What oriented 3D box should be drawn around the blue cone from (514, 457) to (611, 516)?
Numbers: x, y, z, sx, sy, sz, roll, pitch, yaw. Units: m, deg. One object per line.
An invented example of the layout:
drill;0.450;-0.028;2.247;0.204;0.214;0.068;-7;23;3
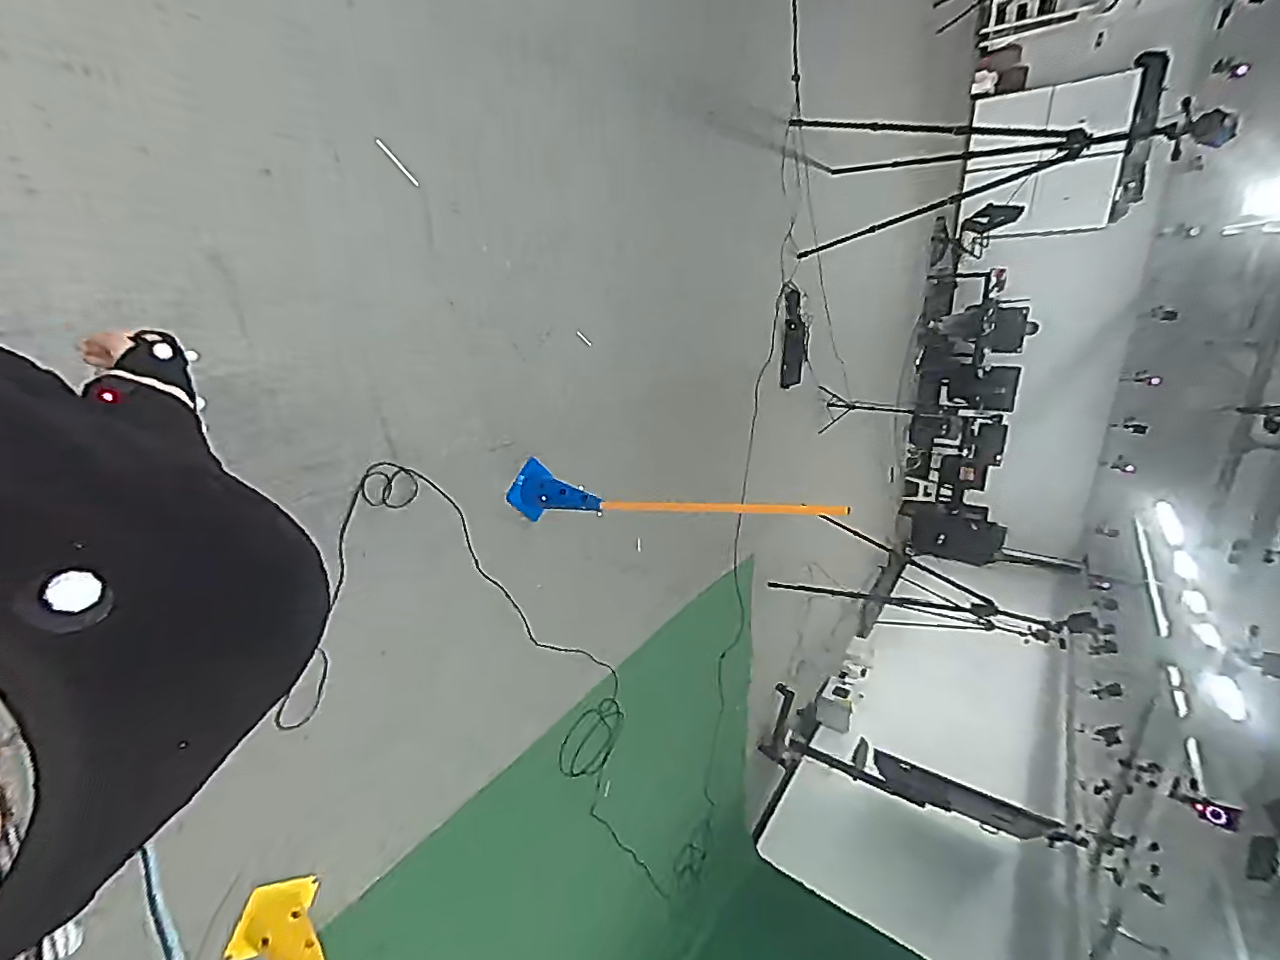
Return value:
blue cone;-0.270;0.048;2.011;0.192;0.380;0.193;49;58;-48
